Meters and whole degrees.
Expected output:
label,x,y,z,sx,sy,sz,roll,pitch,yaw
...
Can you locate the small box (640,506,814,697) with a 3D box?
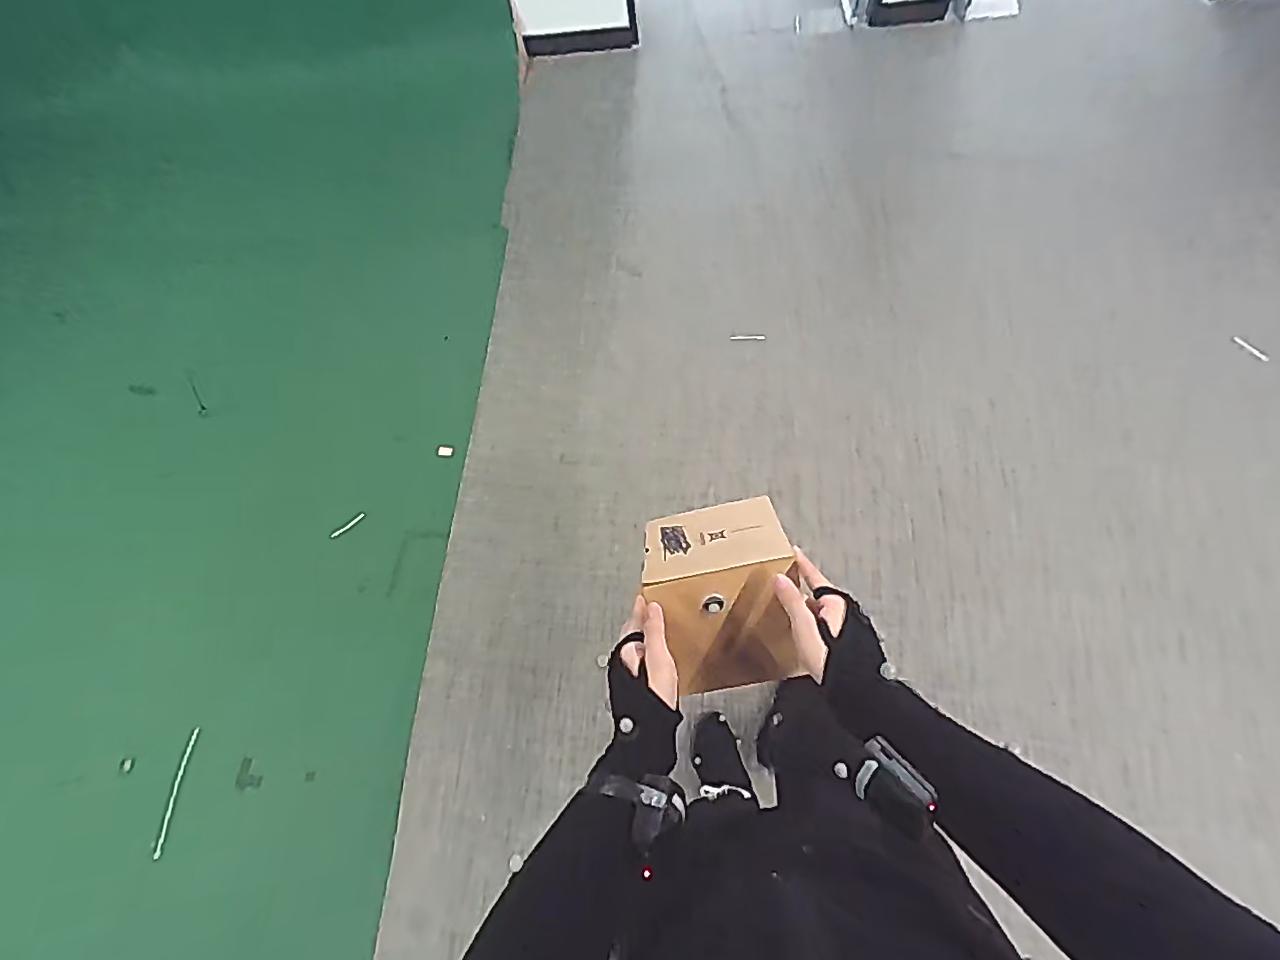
label,x,y,z,sx,sy,sz,roll,pitch,yaw
small box,0.109,0.155,0.697,0.179,0.168,0.176,-13,109,8
